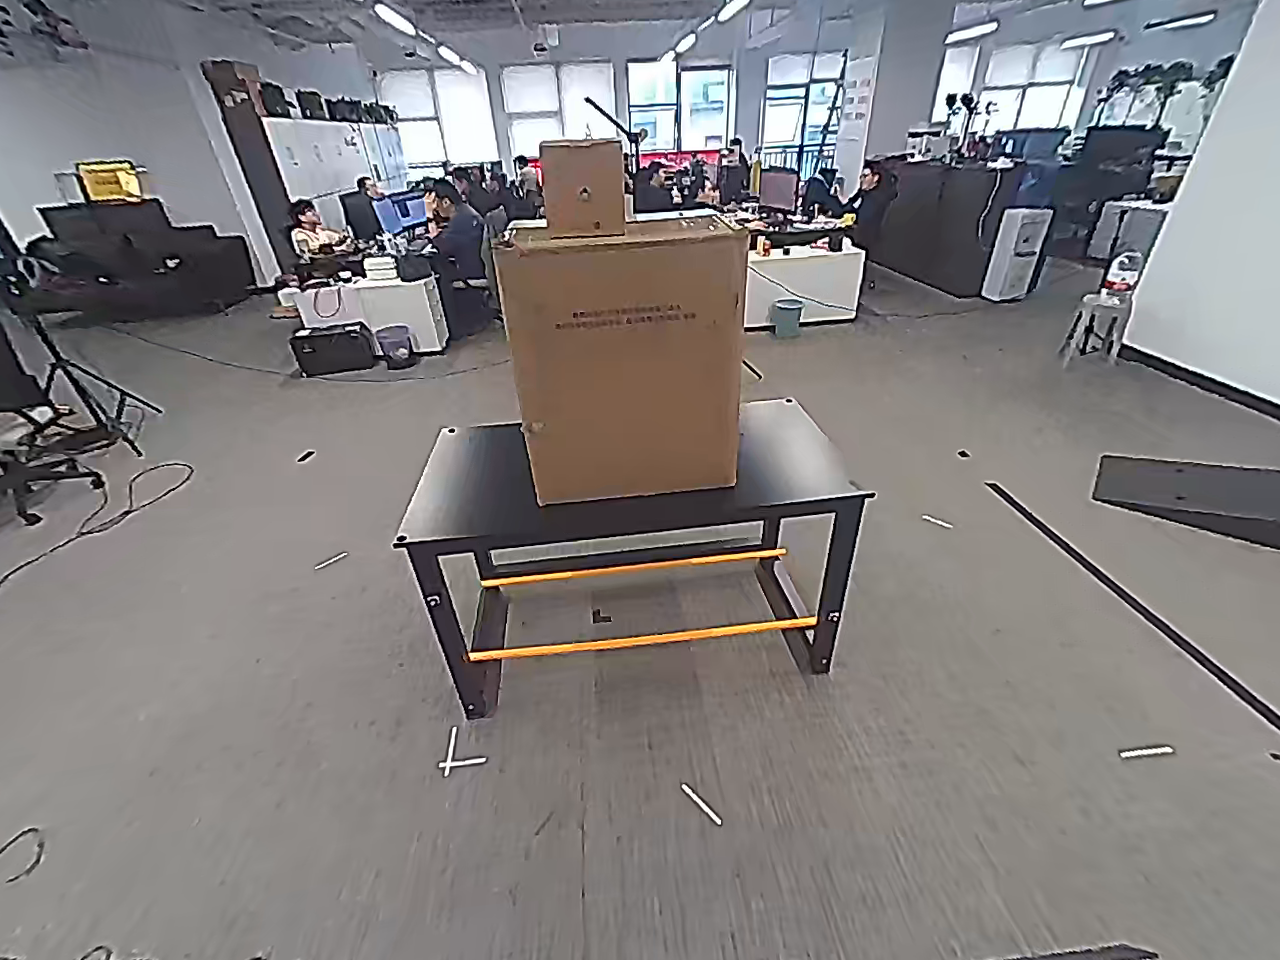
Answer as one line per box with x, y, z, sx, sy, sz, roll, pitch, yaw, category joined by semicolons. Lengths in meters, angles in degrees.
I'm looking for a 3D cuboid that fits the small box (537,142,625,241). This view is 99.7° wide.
-0.122;-0.617;1.162;0.168;0.176;0.179;-4;35;-3;small box
